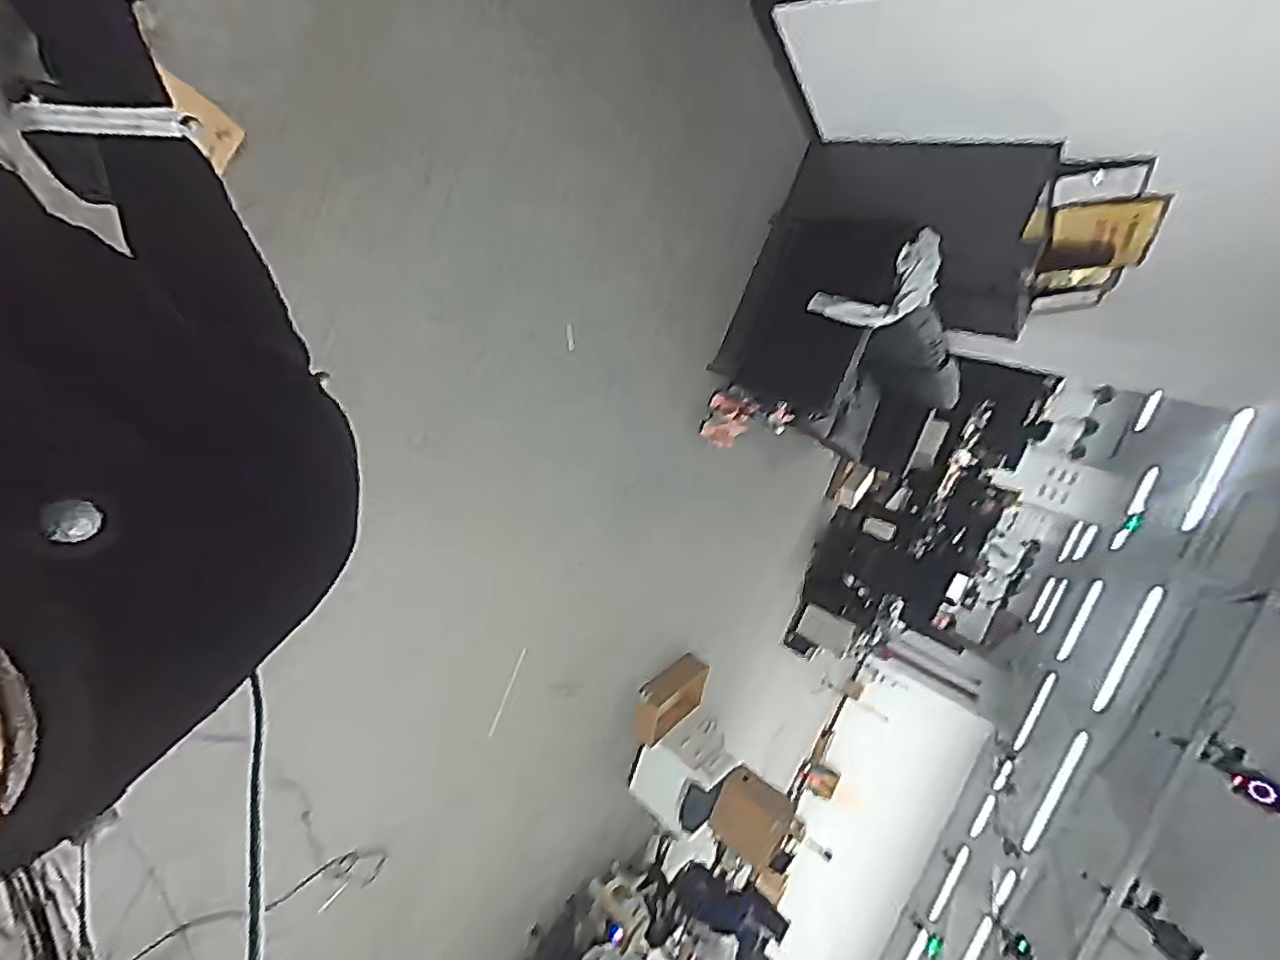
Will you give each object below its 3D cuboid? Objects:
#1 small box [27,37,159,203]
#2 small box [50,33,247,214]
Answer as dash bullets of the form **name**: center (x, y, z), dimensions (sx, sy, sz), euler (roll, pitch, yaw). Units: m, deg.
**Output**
- **small box**: center (-0.919, -0.623, 0.948), dimensions (0.168, 0.176, 0.179), euler (32, 85, -55)
- **small box**: center (-0.790, -0.558, 0.868), dimensions (0.179, 0.176, 0.168), euler (32, 85, -55)
